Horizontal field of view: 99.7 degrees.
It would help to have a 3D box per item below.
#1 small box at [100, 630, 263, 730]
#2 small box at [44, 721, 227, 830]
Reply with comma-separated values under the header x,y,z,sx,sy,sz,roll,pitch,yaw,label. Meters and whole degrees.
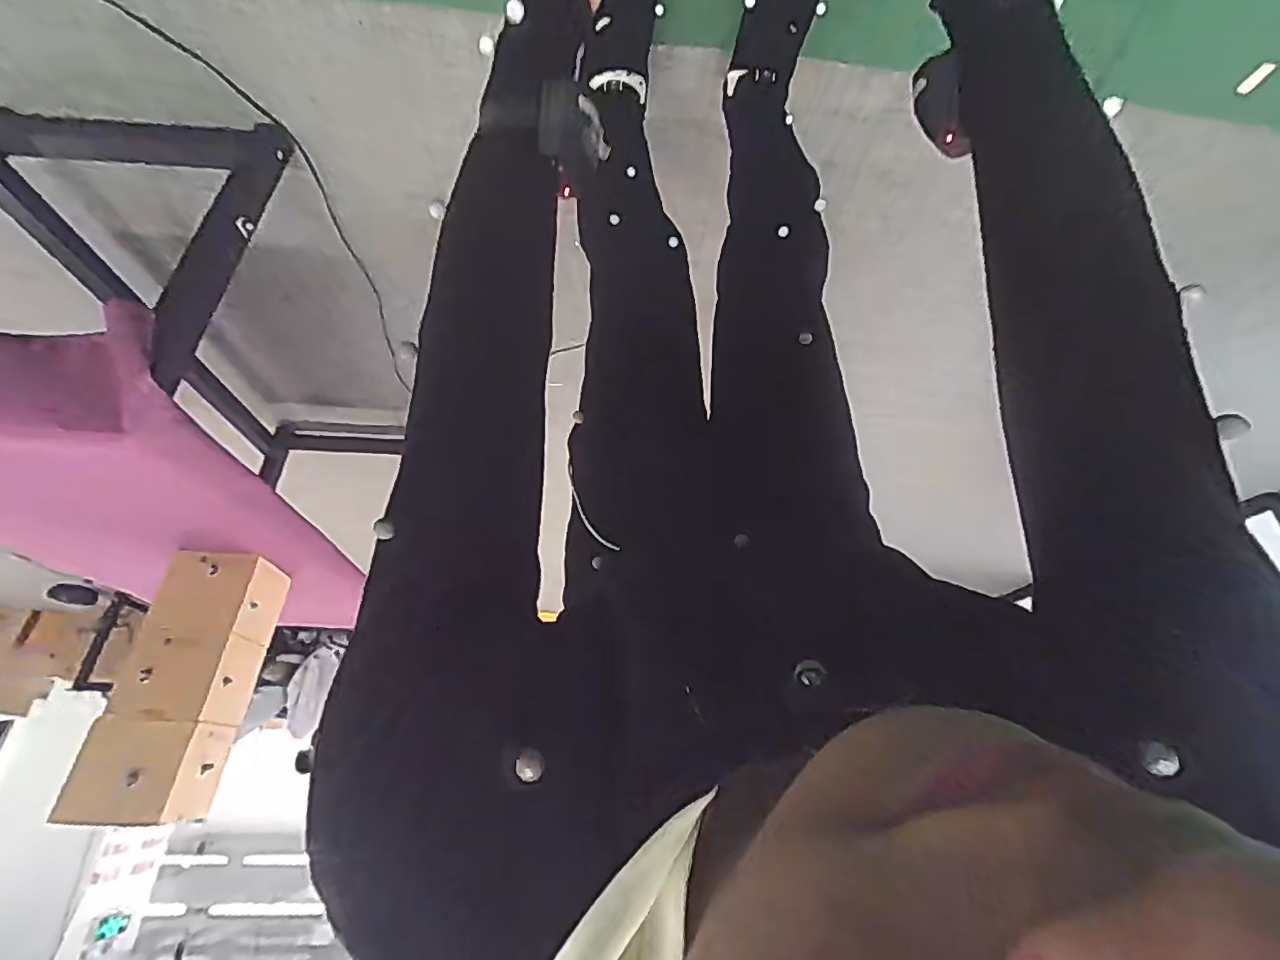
x,y,z,sx,sy,sz,roll,pitch,yaw,label
-0.911,0.408,1.097,0.168,0.176,0.179,6,151,-8,small box
-0.922,0.550,1.017,0.179,0.176,0.168,6,150,-8,small box
